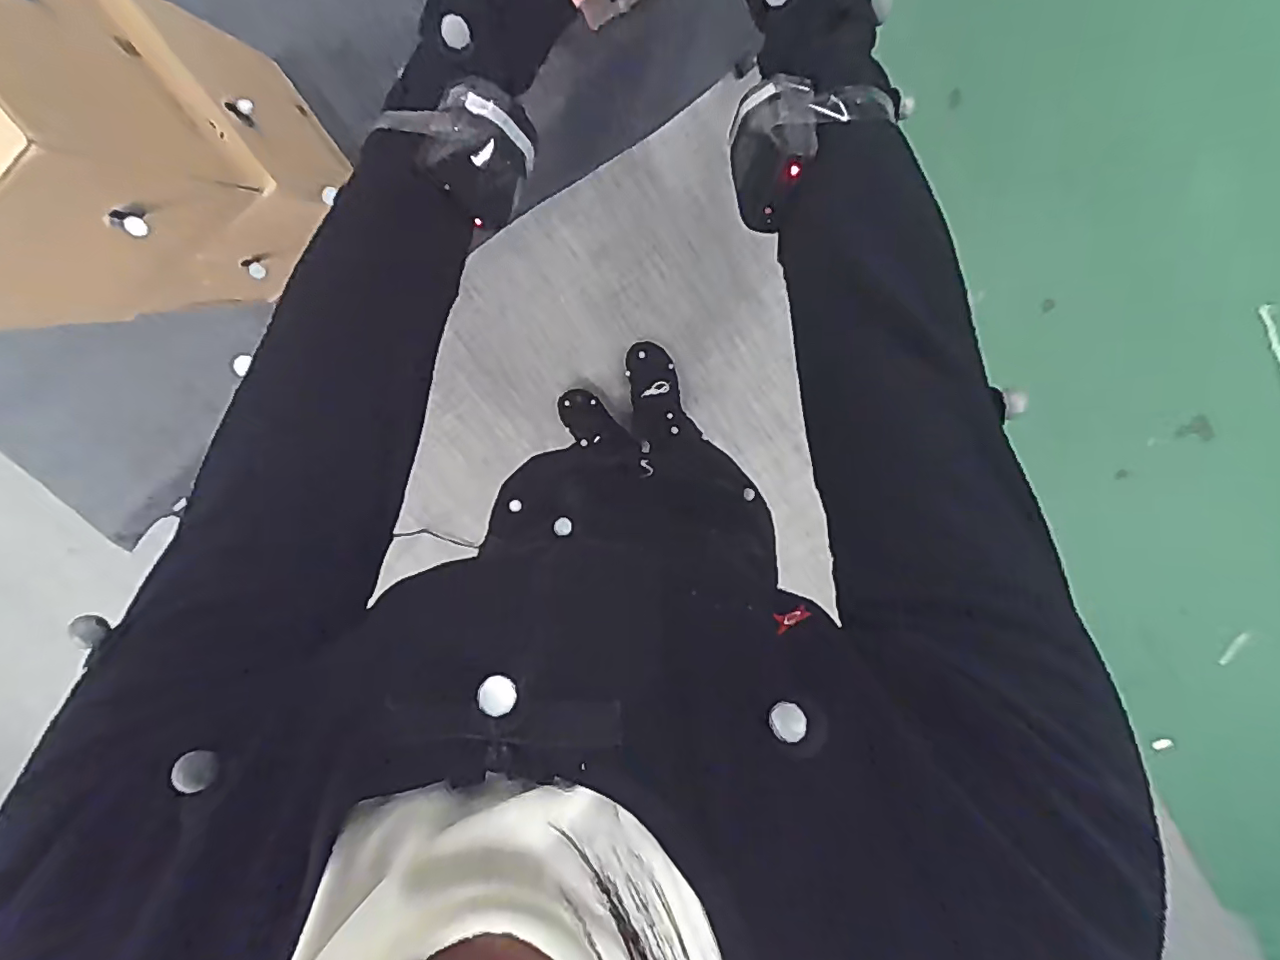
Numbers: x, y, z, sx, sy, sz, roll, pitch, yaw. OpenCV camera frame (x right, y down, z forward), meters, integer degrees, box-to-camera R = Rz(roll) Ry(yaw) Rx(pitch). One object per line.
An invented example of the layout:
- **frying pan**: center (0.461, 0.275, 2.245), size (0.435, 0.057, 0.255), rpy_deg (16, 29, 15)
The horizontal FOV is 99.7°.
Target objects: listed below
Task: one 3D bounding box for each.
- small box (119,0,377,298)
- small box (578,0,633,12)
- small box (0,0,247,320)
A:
- **small box**: center (-0.393, -0.288, 0.505), size (0.179, 0.176, 0.168), rpy_deg (-30, 106, 14)
- **small box**: center (-0.018, -0.497, 0.391), size (0.168, 0.176, 0.179), rpy_deg (-25, 101, 13)
- **small box**: center (-0.413, -0.226, 0.356), size (0.179, 0.176, 0.168), rpy_deg (-32, 104, 15)
